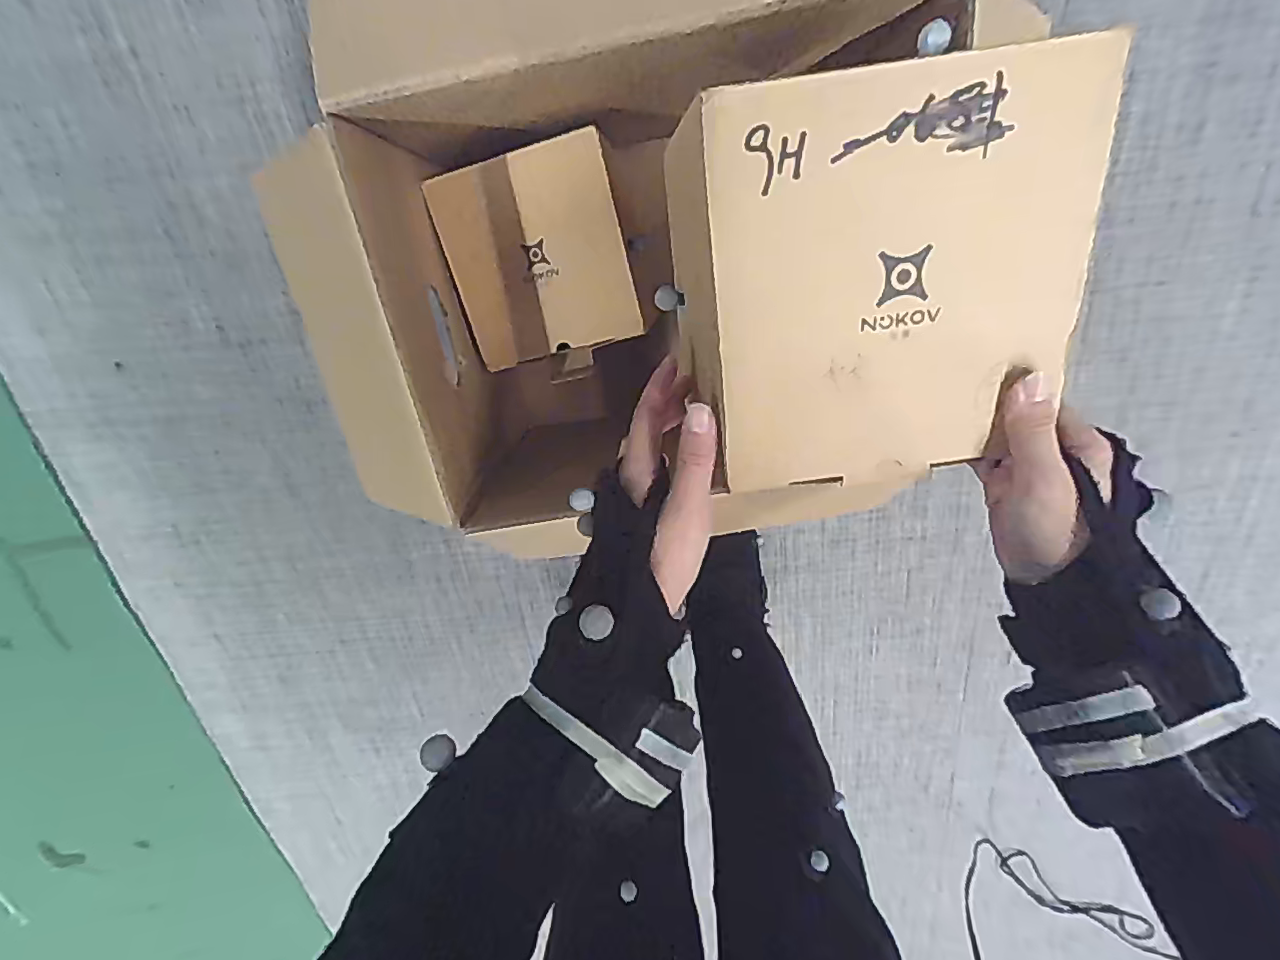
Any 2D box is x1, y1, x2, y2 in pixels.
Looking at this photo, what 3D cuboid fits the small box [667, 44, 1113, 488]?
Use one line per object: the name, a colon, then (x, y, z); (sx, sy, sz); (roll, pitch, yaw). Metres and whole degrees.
small box: (0.110, -0.116, 0.318); (0.168, 0.176, 0.179); (-8, 115, 1)
